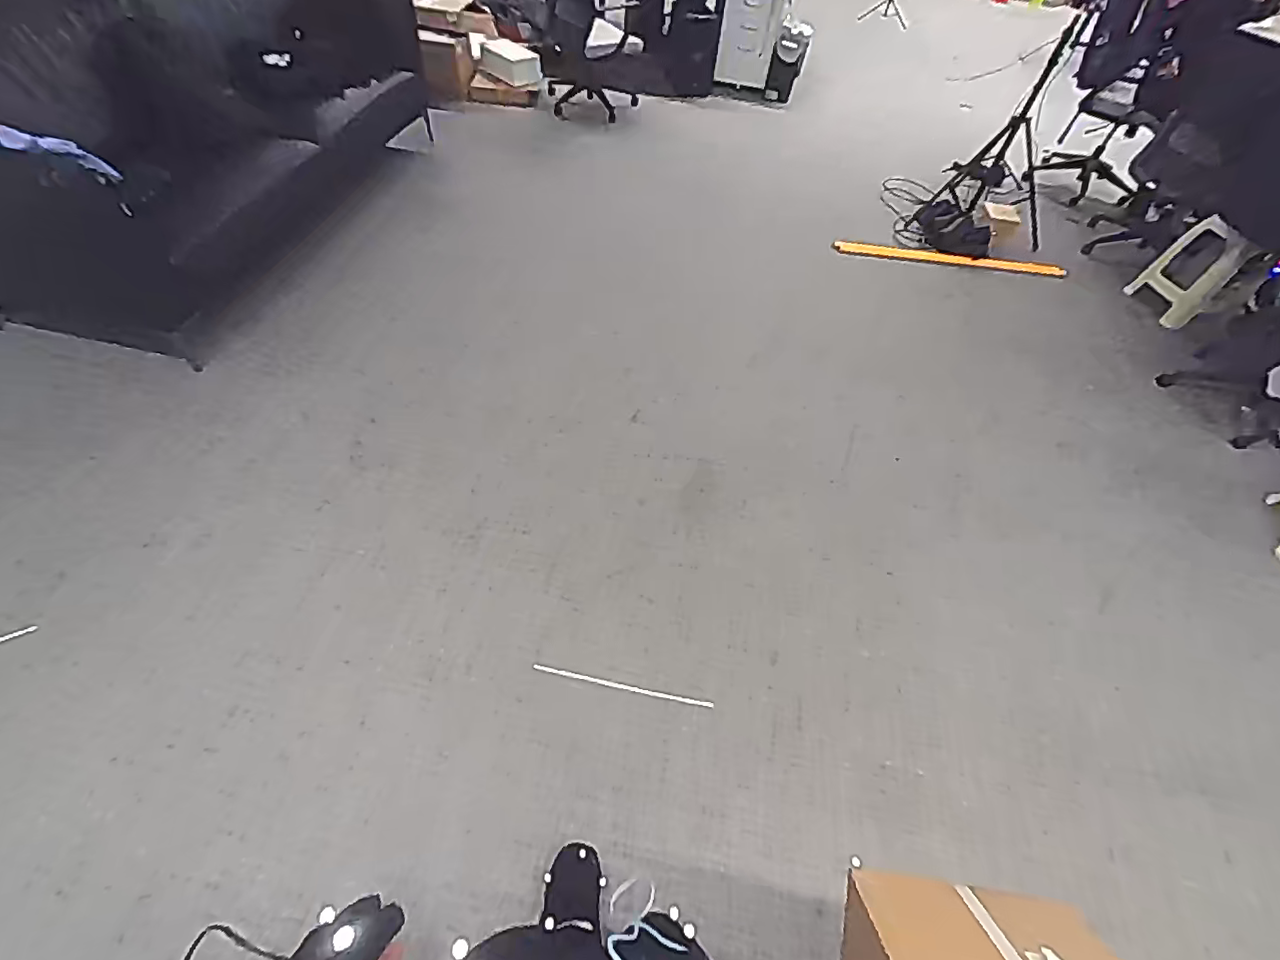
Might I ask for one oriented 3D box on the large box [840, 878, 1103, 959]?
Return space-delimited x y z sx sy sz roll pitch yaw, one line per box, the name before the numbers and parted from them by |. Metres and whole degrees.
large box | 0.428 0.750 0.592 0.320 0.408 0.320 8 88 4
